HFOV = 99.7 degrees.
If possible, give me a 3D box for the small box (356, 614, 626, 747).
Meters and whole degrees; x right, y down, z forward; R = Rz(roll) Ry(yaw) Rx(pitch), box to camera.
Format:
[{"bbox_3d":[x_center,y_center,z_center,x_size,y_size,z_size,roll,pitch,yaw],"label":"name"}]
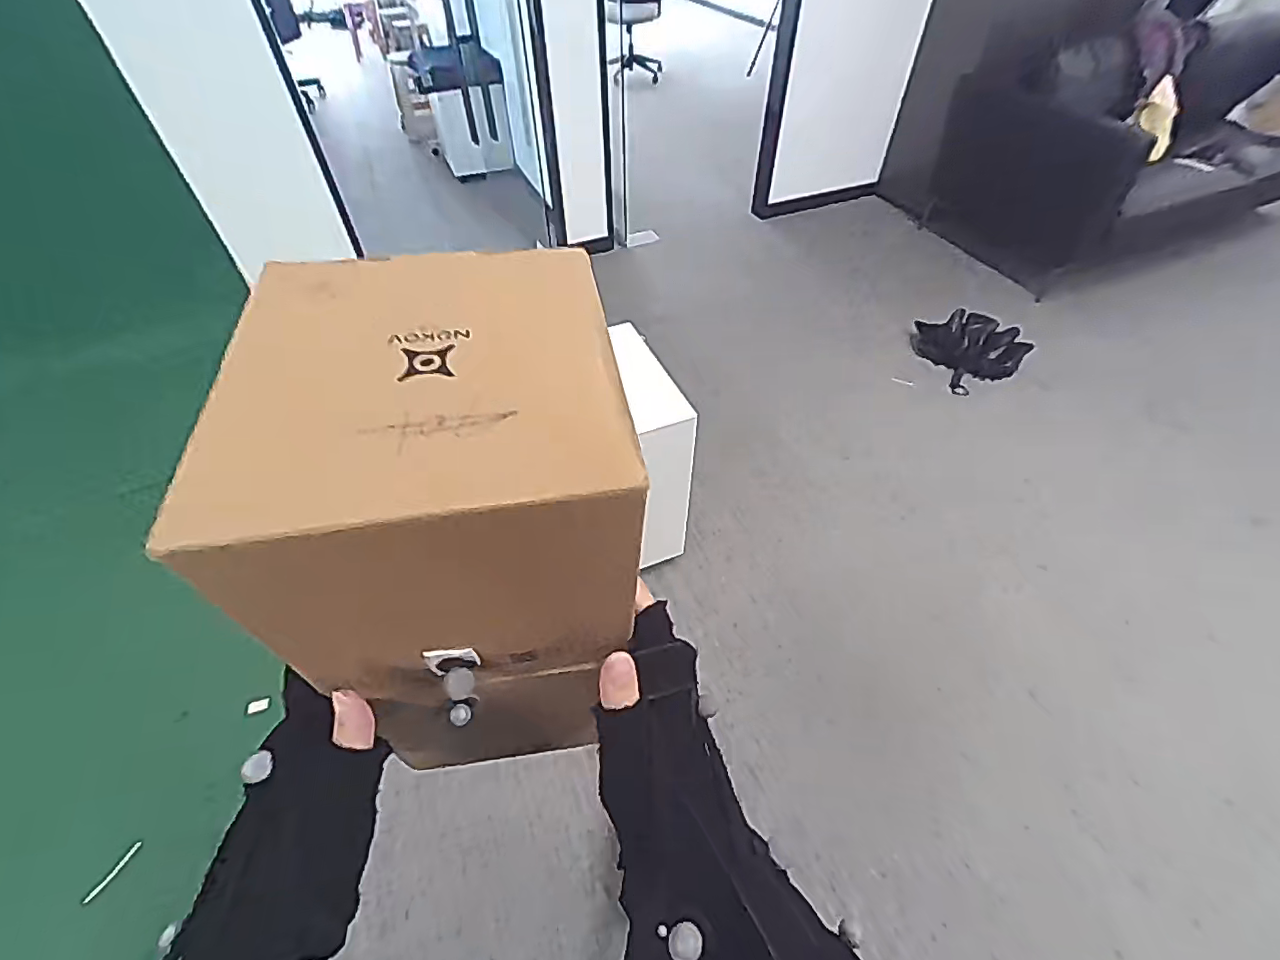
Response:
[{"bbox_3d":[-0.106,0.096,0.445,0.168,0.176,0.179,-5,51,-8],"label":"small box"}]
